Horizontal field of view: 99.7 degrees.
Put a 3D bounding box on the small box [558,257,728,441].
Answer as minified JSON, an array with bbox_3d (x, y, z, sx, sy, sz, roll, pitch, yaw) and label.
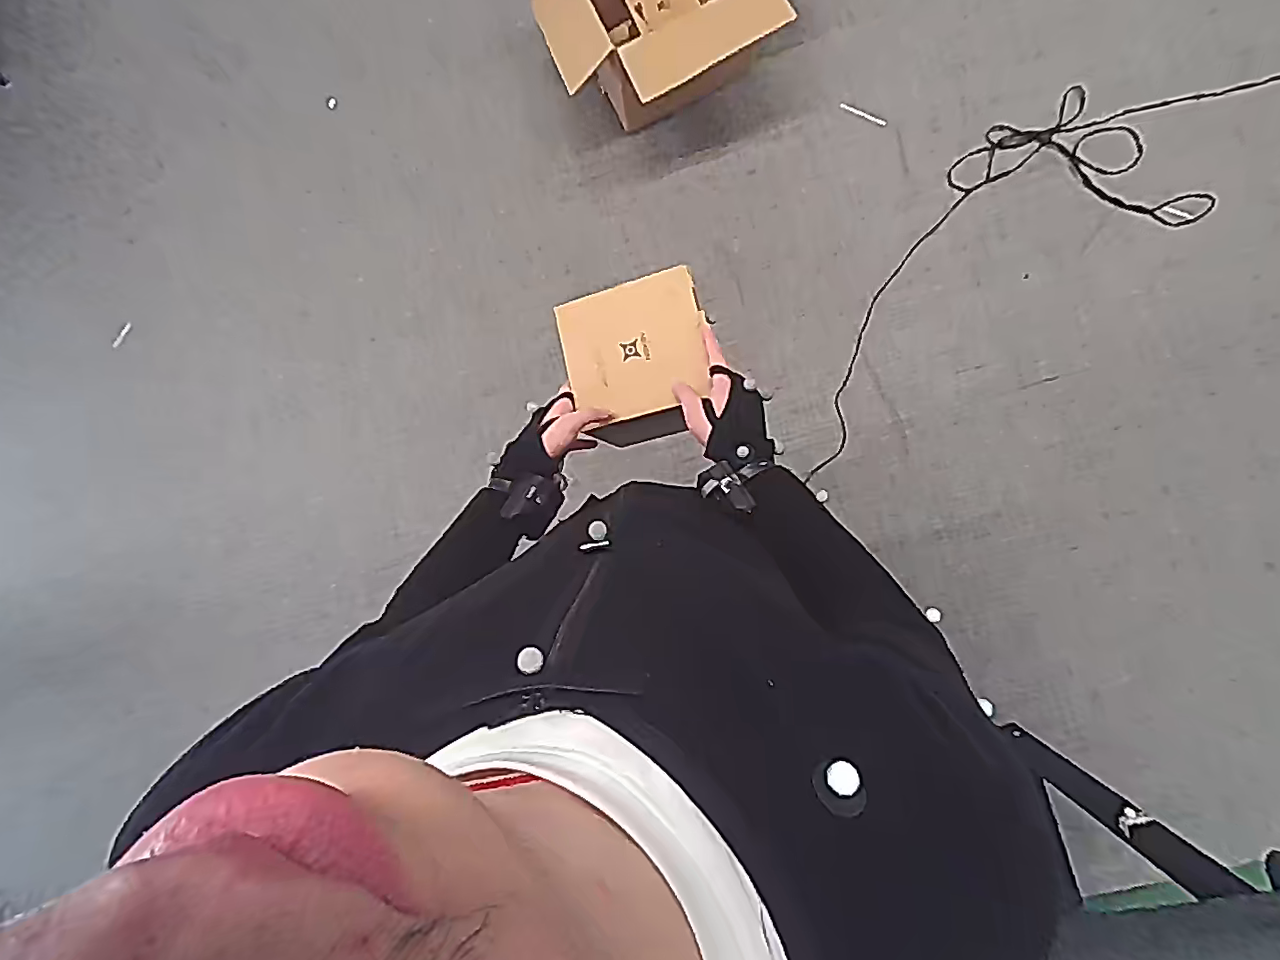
[{"bbox_3d":[0.015,-0.157,0.709,0.179,0.176,0.168,-12,81,14],"label":"small box"}]
